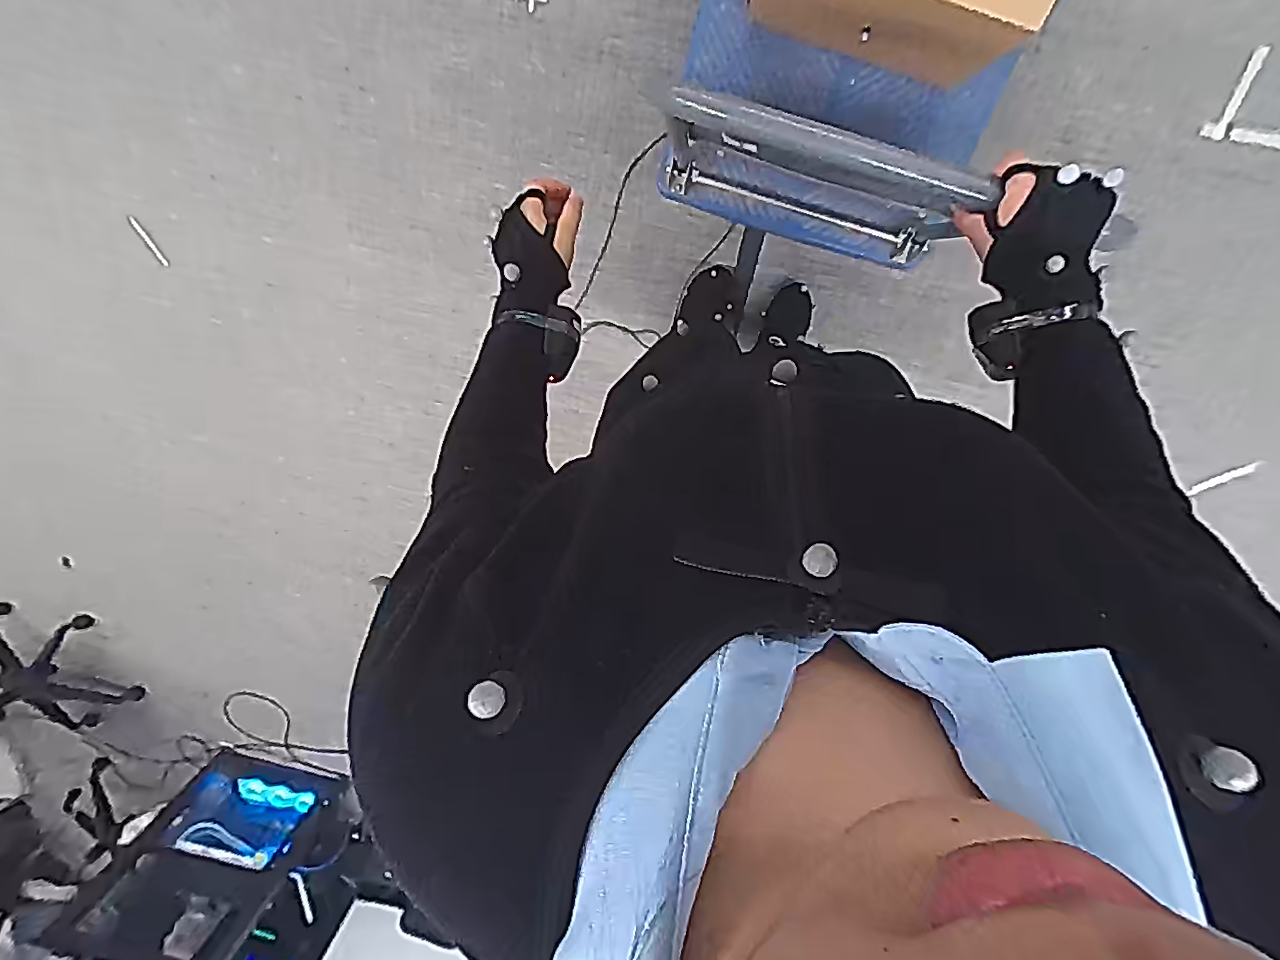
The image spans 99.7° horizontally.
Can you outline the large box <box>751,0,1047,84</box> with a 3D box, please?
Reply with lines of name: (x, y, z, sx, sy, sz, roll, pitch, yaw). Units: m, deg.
large box: (0.416, -0.867, 0.814, 0.408, 0.320, 0.320, 19, 114, 0)
